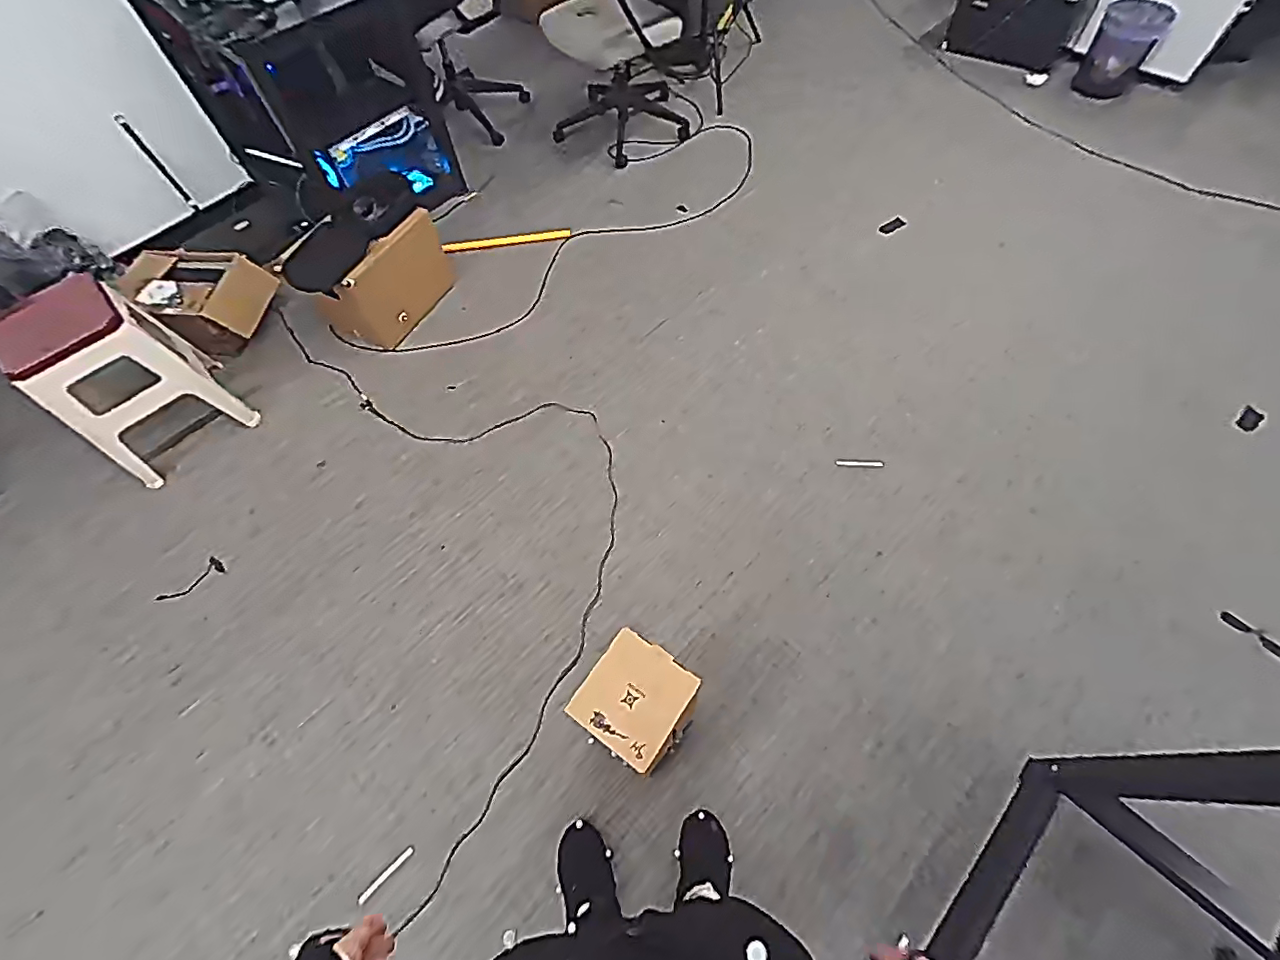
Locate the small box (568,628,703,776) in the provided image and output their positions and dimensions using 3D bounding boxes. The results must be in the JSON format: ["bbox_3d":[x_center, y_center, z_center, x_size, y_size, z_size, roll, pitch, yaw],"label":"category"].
[{"bbox_3d":[-0.005,0.402,0.973,0.168,0.176,0.179,31,66,20],"label":"small box"}]
